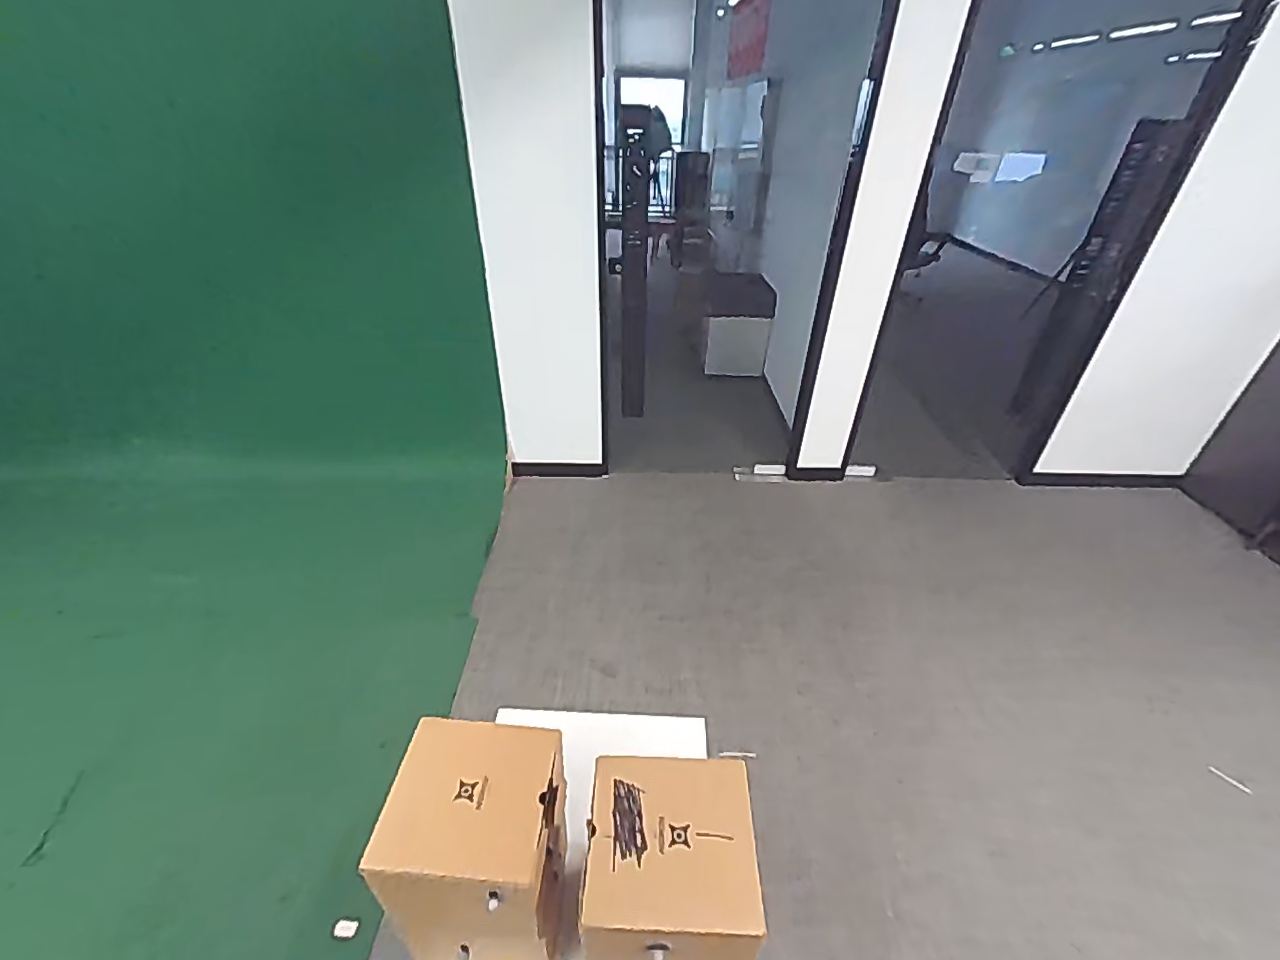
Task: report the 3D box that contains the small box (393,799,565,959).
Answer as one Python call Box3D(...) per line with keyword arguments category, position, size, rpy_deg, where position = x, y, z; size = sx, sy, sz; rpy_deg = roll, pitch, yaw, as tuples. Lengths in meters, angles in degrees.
Box3D(category="small box", position=(-0.203, 0.541, 0.739), size=(0.179, 0.176, 0.168), rpy_deg=(3, 33, 0))

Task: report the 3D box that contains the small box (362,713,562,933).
Box3D(category="small box", position=(-0.194, 0.408, 0.646), size=(0.179, 0.176, 0.168), rpy_deg=(5, 33, 0))

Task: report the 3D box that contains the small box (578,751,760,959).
Box3D(category="small box", position=(0.030, 0.436, 0.616), size=(0.179, 0.176, 0.168), rpy_deg=(2, 34, 1))
